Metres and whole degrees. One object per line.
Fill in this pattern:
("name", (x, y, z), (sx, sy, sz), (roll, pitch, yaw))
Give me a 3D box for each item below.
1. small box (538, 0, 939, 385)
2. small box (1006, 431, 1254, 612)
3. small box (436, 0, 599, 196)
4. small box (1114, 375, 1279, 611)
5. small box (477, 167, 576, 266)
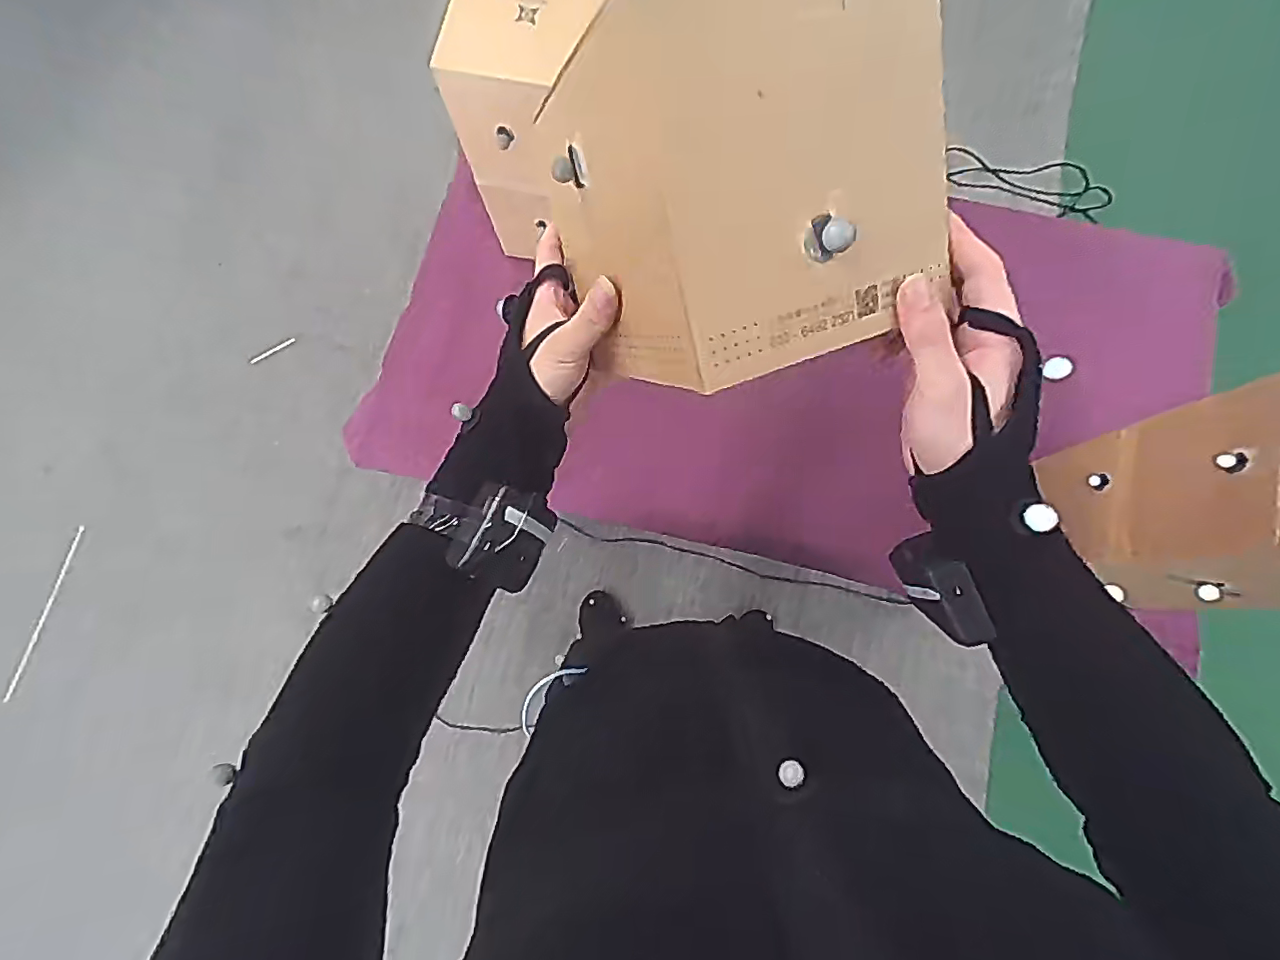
("small box", (0.051, -0.164, 0.334), (0.168, 0.179, 0.176), (-21, 111, -15))
("small box", (0.619, 0.059, 0.690), (0.179, 0.176, 0.168), (18, 78, 4))
("small box", (-0.110, -0.462, 0.635), (0.168, 0.176, 0.179), (11, 78, 3))
("small box", (0.620, 0.022, 0.531), (0.168, 0.176, 0.179), (17, 79, 6))
("small box", (-0.113, -0.437, 0.795), (0.179, 0.176, 0.168), (10, 79, 3))
